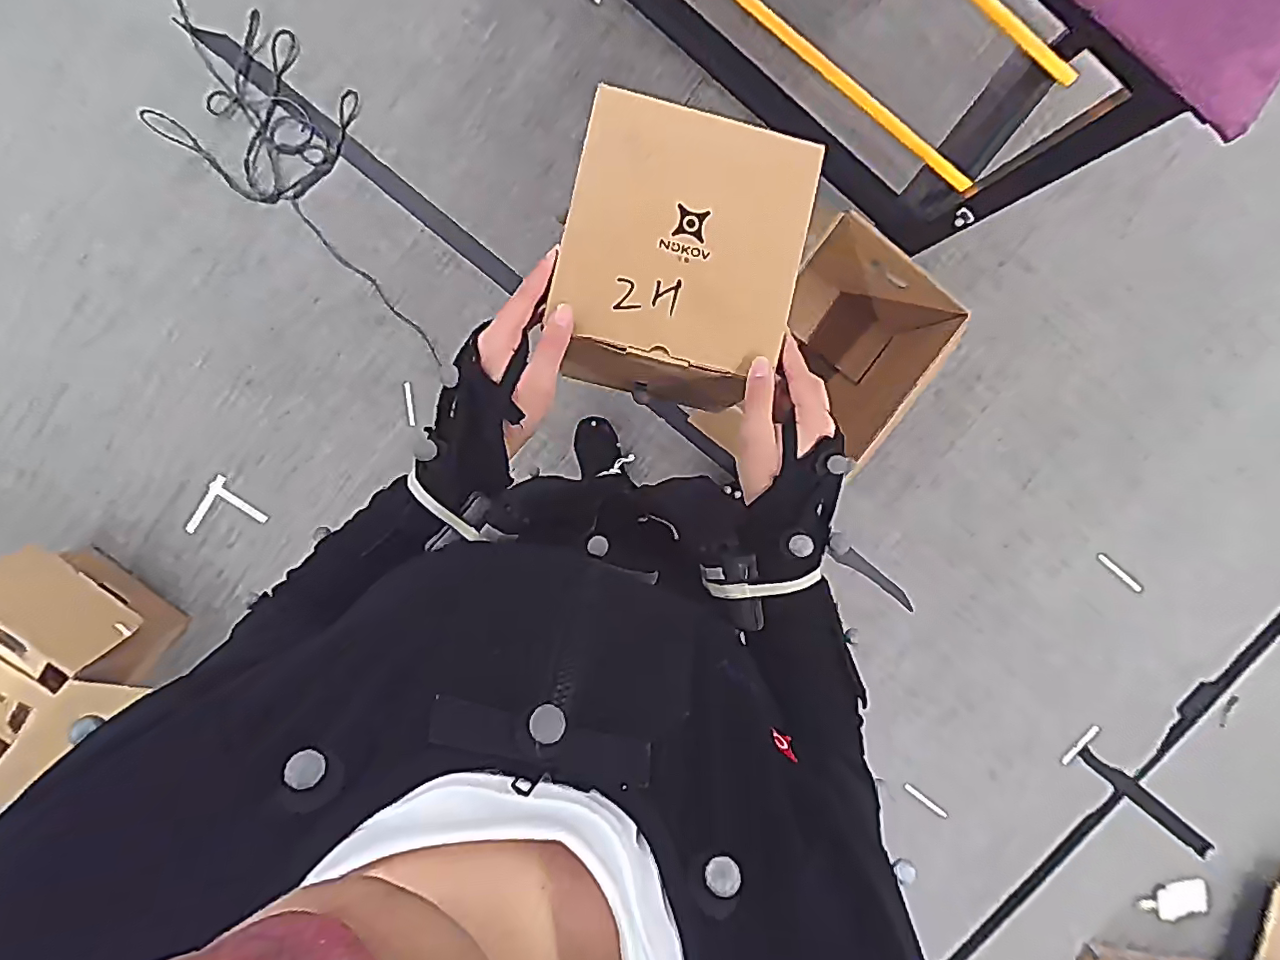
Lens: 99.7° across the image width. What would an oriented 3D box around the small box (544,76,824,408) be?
[{"bbox_3d":[0.026,-0.172,0.450,0.168,0.176,0.179,13,88,-4],"label":"small box"}]
